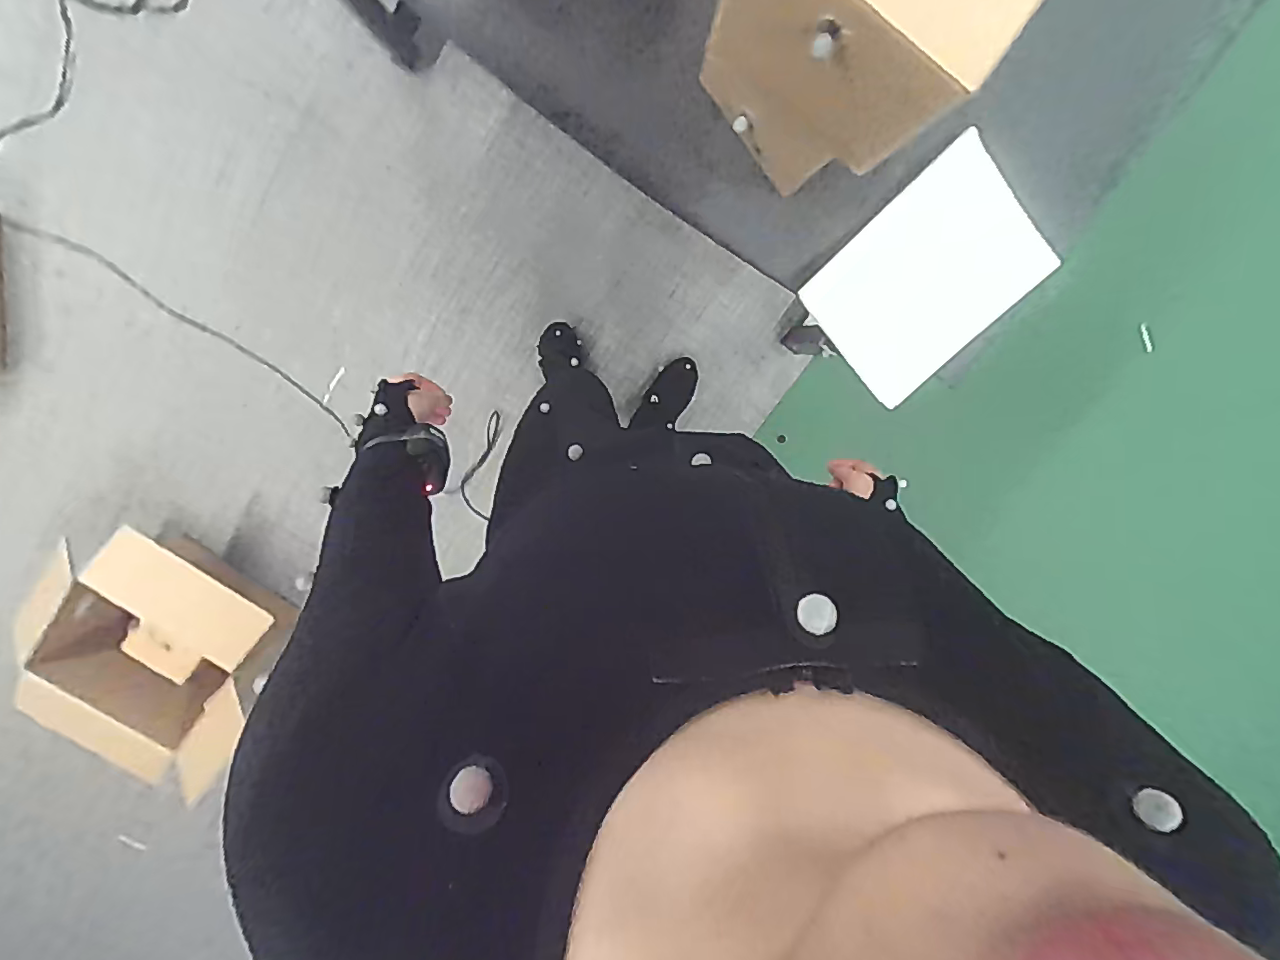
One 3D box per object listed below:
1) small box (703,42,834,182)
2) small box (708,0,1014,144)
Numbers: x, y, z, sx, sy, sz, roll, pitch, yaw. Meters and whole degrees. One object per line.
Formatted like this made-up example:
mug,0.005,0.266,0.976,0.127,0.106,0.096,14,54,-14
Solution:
small box,0.181,-0.442,0.539,0.179,0.176,0.168,-39,101,10
small box,0.169,-0.380,0.388,0.179,0.176,0.168,32,102,-8
